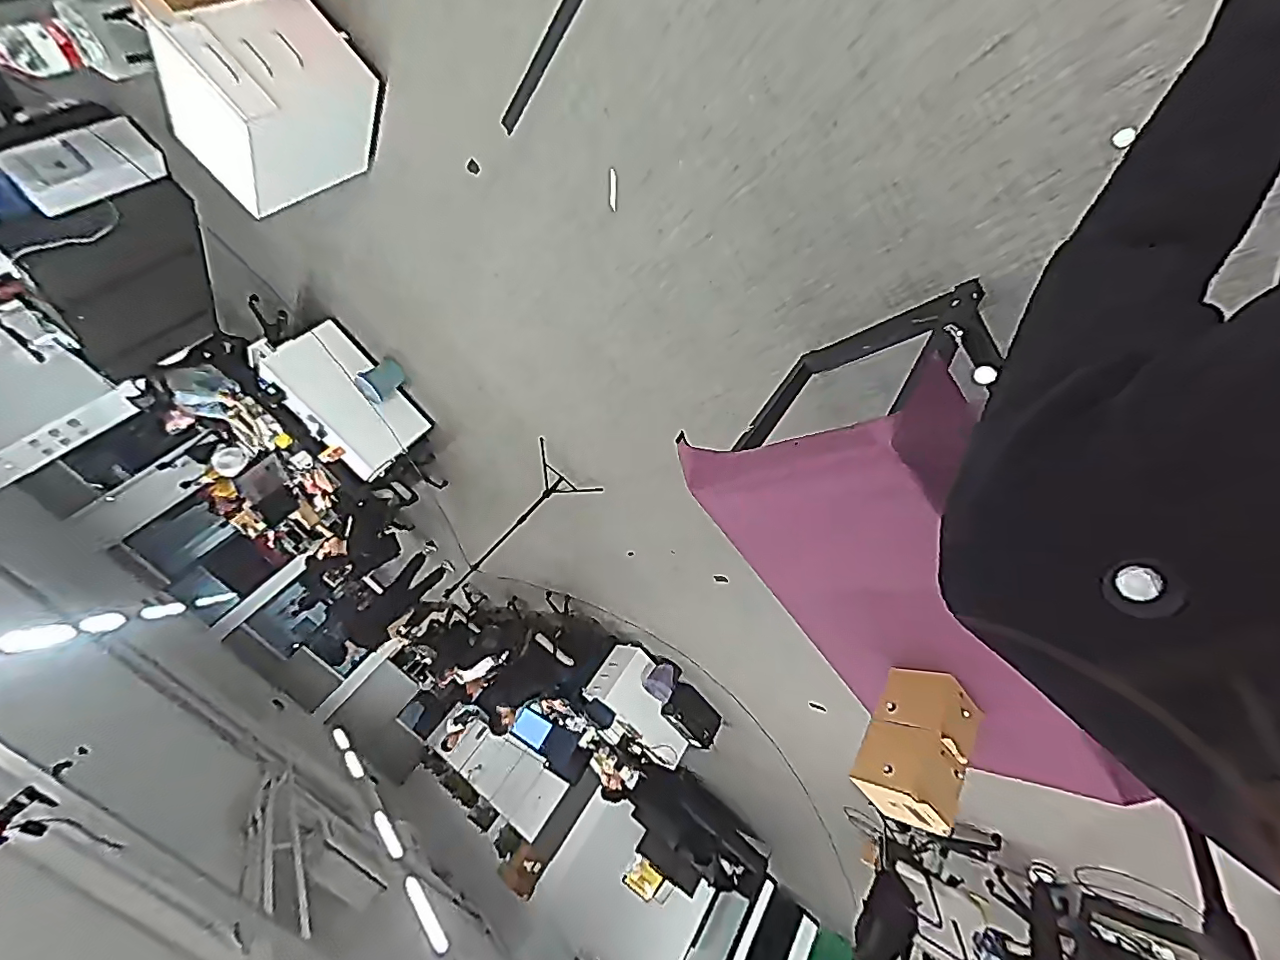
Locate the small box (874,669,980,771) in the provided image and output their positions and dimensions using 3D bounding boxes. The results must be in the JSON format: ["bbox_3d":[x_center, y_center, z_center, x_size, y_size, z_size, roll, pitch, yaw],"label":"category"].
[{"bbox_3d":[0.763,0.625,1.433,0.168,0.176,0.179,50,148,-16],"label":"small box"}]

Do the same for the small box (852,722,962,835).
[{"bbox_3d":[0.672,0.734,1.350,0.168,0.176,0.179,48,149,-12],"label":"small box"}]
